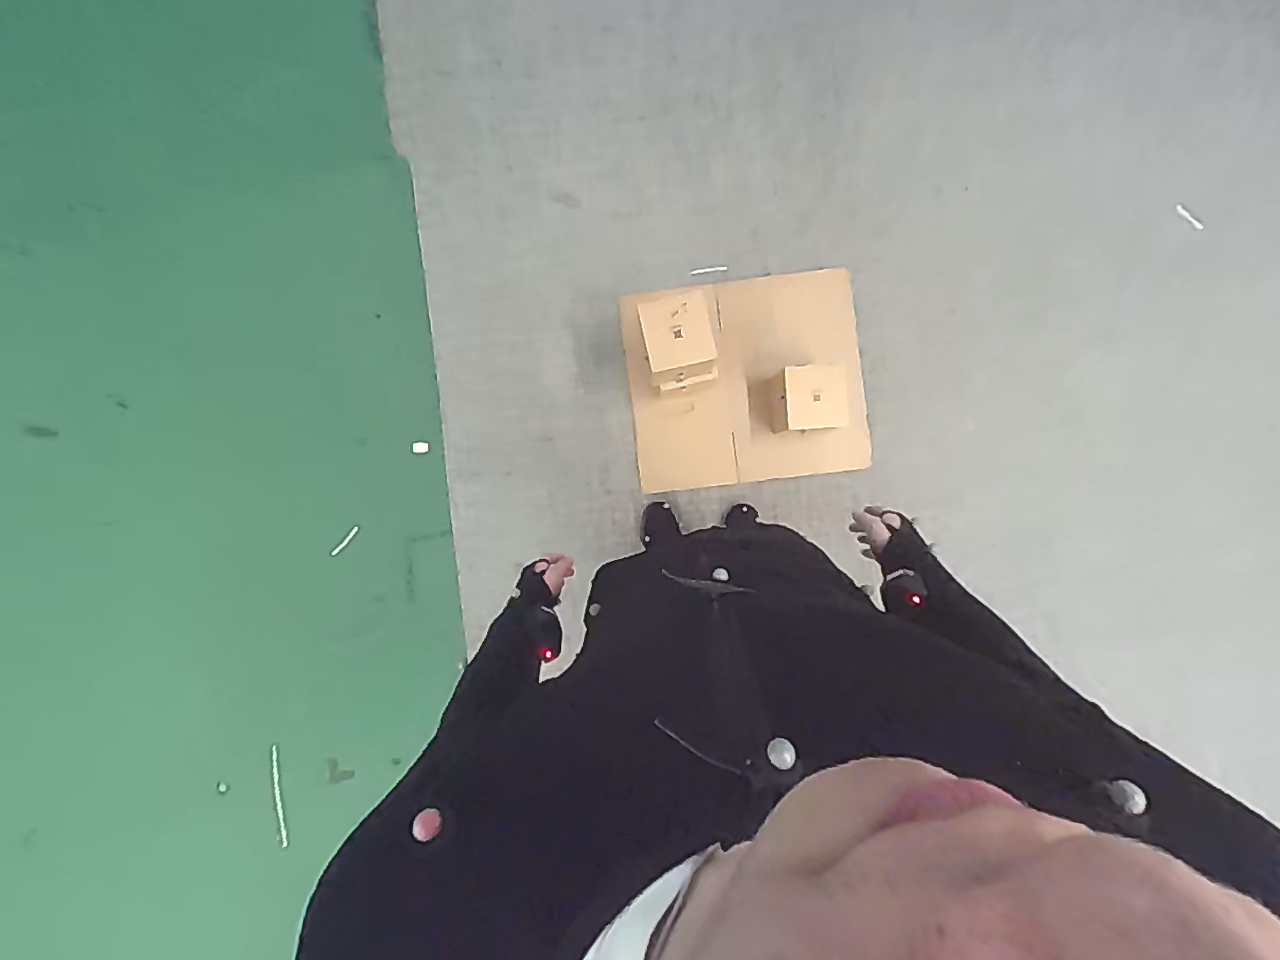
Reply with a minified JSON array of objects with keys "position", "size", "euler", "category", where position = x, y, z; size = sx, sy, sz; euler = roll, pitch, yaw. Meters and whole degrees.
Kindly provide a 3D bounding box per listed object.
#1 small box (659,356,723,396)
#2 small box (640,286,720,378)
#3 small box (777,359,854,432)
[{"position":[0.128,-0.351,1.535],"size":[0.168,0.176,0.179],"euler":[-13,89,2],"category":"small box"},{"position":[0.100,-0.364,1.371],"size":[0.168,0.176,0.179],"euler":[-12,88,1],"category":"small box"},{"position":[0.486,-0.230,1.517],"size":[0.168,0.176,0.179],"euler":[-4,88,3],"category":"small box"}]
